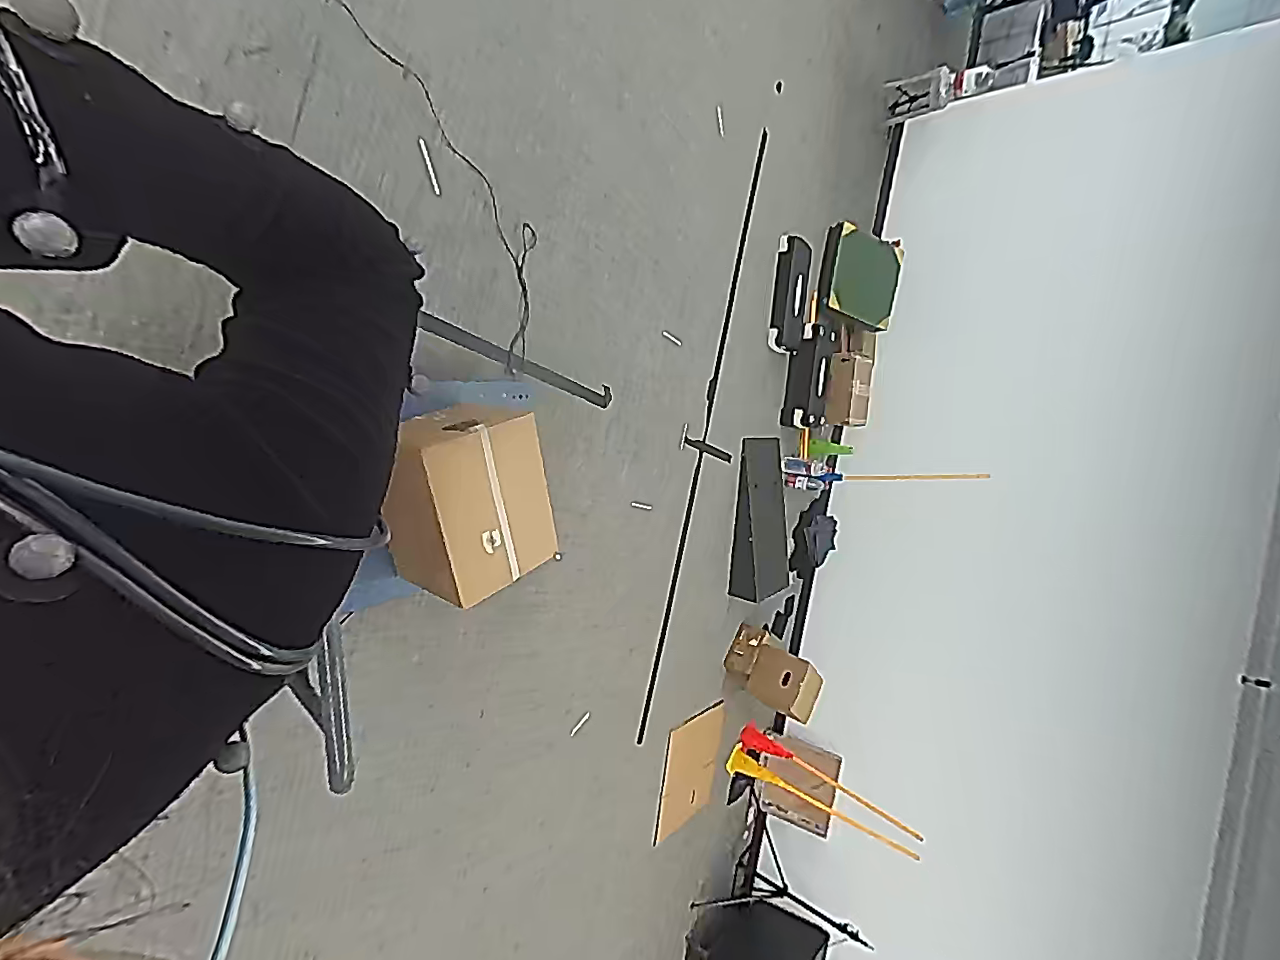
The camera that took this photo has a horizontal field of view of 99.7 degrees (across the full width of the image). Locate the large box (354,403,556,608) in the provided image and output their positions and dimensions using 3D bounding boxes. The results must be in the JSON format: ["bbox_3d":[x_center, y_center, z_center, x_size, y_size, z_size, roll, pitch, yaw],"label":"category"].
[{"bbox_3d":[-0.461,0.043,1.385,0.320,0.320,0.408,-29,121,-44],"label":"large box"}]
